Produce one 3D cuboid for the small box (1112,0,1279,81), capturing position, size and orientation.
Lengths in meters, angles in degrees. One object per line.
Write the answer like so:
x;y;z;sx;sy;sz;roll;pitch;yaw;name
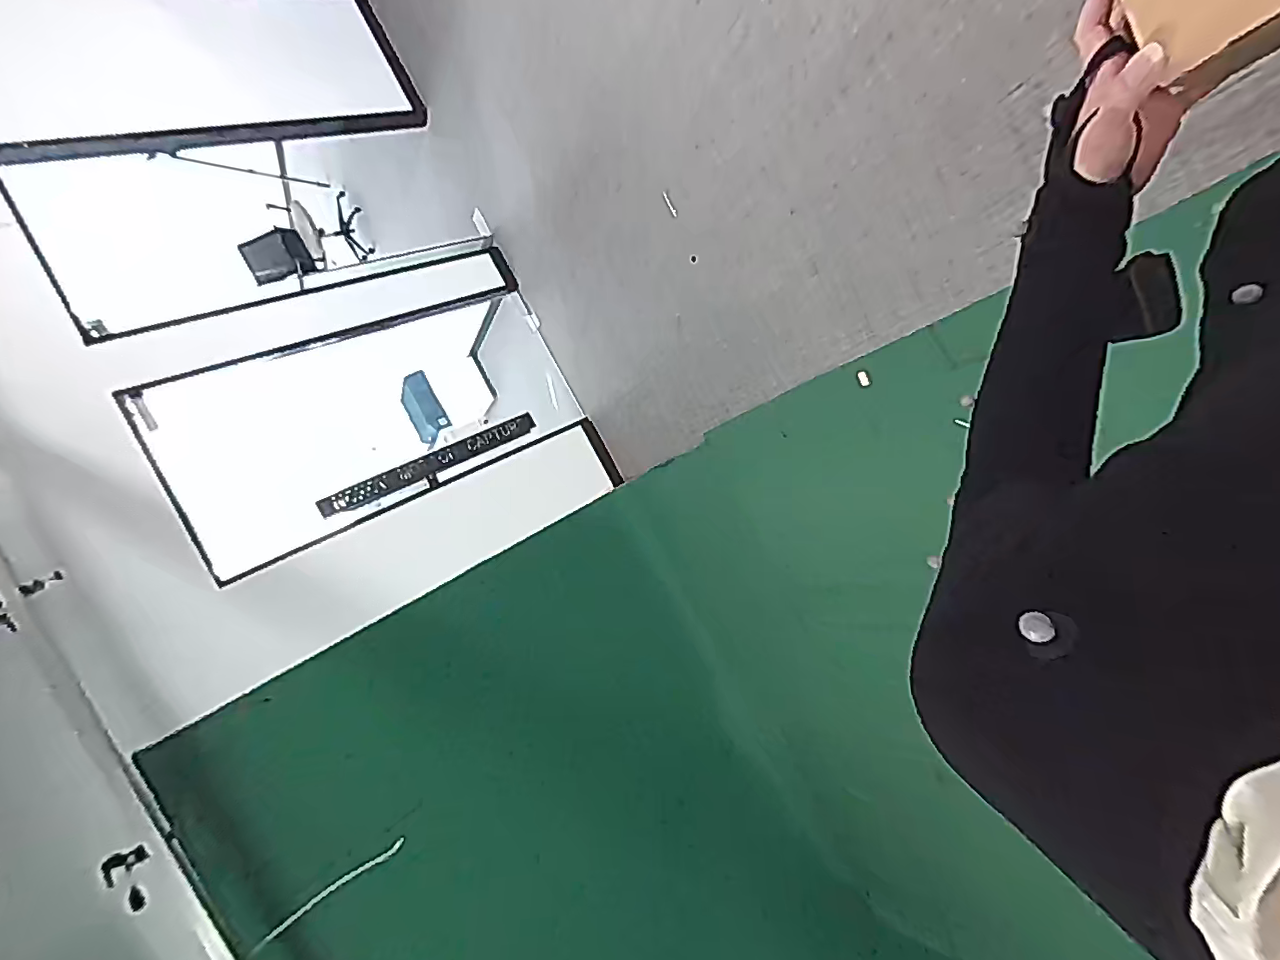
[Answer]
0.385;-0.370;0.309;0.168;0.176;0.179;-18;99;59;small box
